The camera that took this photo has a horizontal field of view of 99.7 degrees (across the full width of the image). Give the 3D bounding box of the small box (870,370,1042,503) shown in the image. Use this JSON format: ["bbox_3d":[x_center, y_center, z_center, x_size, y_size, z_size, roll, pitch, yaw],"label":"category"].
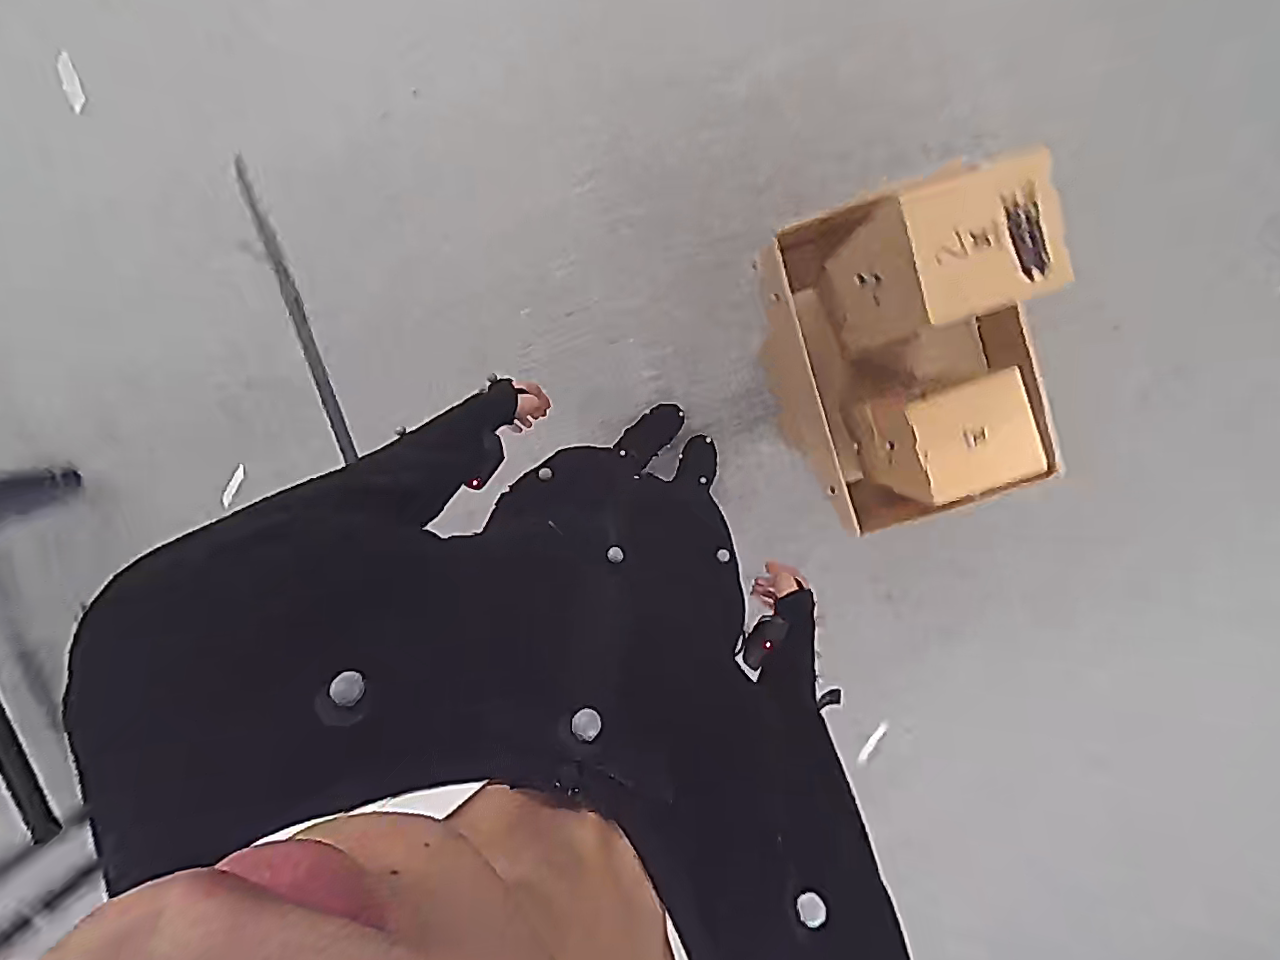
[{"bbox_3d":[0.522,-0.077,0.917,0.179,0.176,0.168,-20,96,7],"label":"small box"}]

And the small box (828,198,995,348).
[{"bbox_3d":[0.435,-0.328,0.892,0.179,0.176,0.168,-17,95,5],"label":"small box"}]
